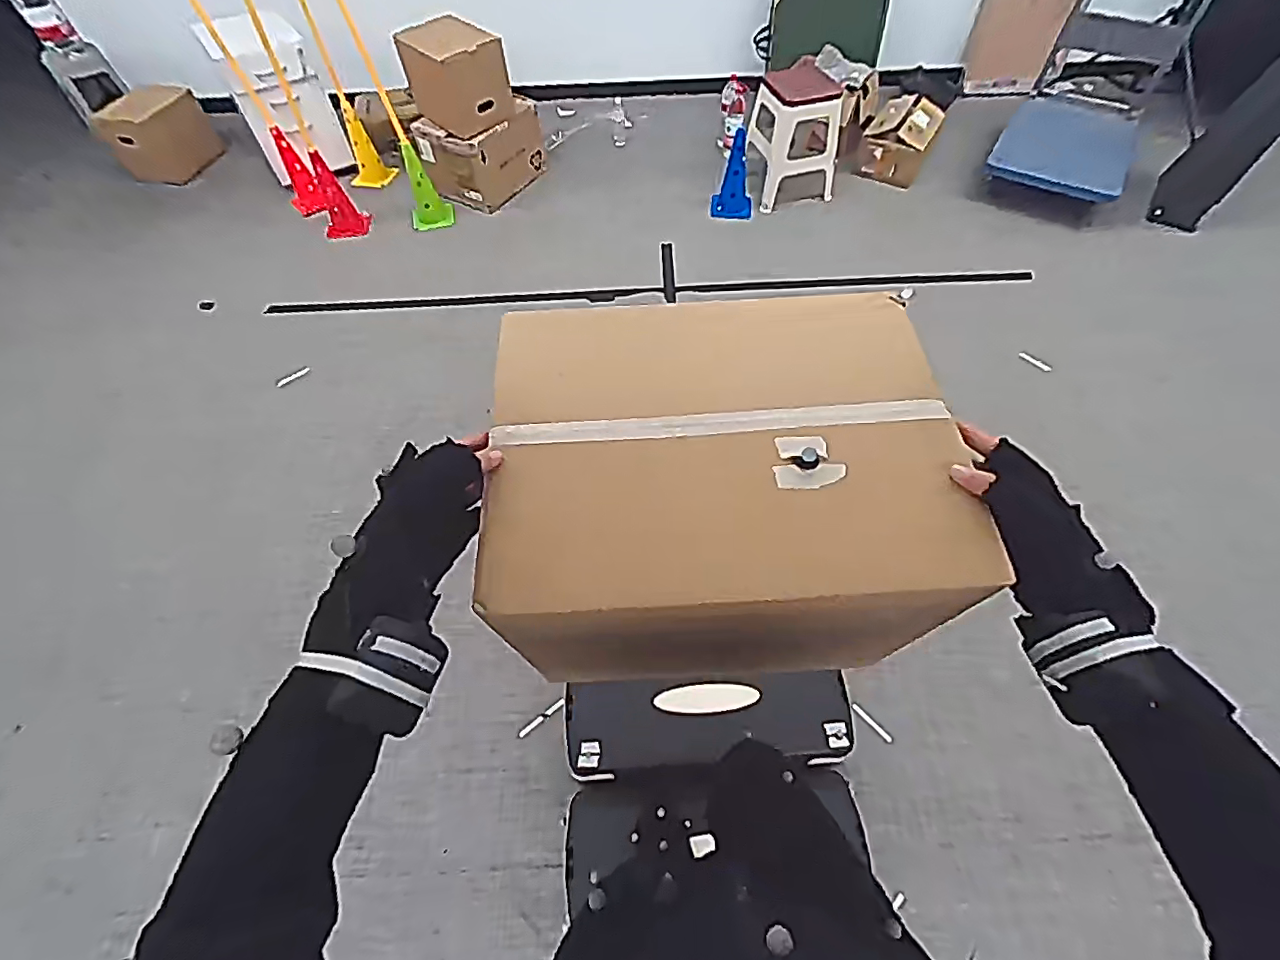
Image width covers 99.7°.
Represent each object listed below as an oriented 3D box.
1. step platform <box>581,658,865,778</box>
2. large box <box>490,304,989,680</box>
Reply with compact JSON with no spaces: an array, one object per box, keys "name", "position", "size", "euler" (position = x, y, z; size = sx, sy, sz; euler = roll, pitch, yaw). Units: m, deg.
[{"name":"step platform","position":[0.194,0.558,1.359],"size":[0.684,0.204,0.286],"euler":[-4,57,-2]},{"name":"large box","position":[0.071,0.031,0.623],"size":[0.408,0.320,0.320],"euler":[-3,61,-1]}]
